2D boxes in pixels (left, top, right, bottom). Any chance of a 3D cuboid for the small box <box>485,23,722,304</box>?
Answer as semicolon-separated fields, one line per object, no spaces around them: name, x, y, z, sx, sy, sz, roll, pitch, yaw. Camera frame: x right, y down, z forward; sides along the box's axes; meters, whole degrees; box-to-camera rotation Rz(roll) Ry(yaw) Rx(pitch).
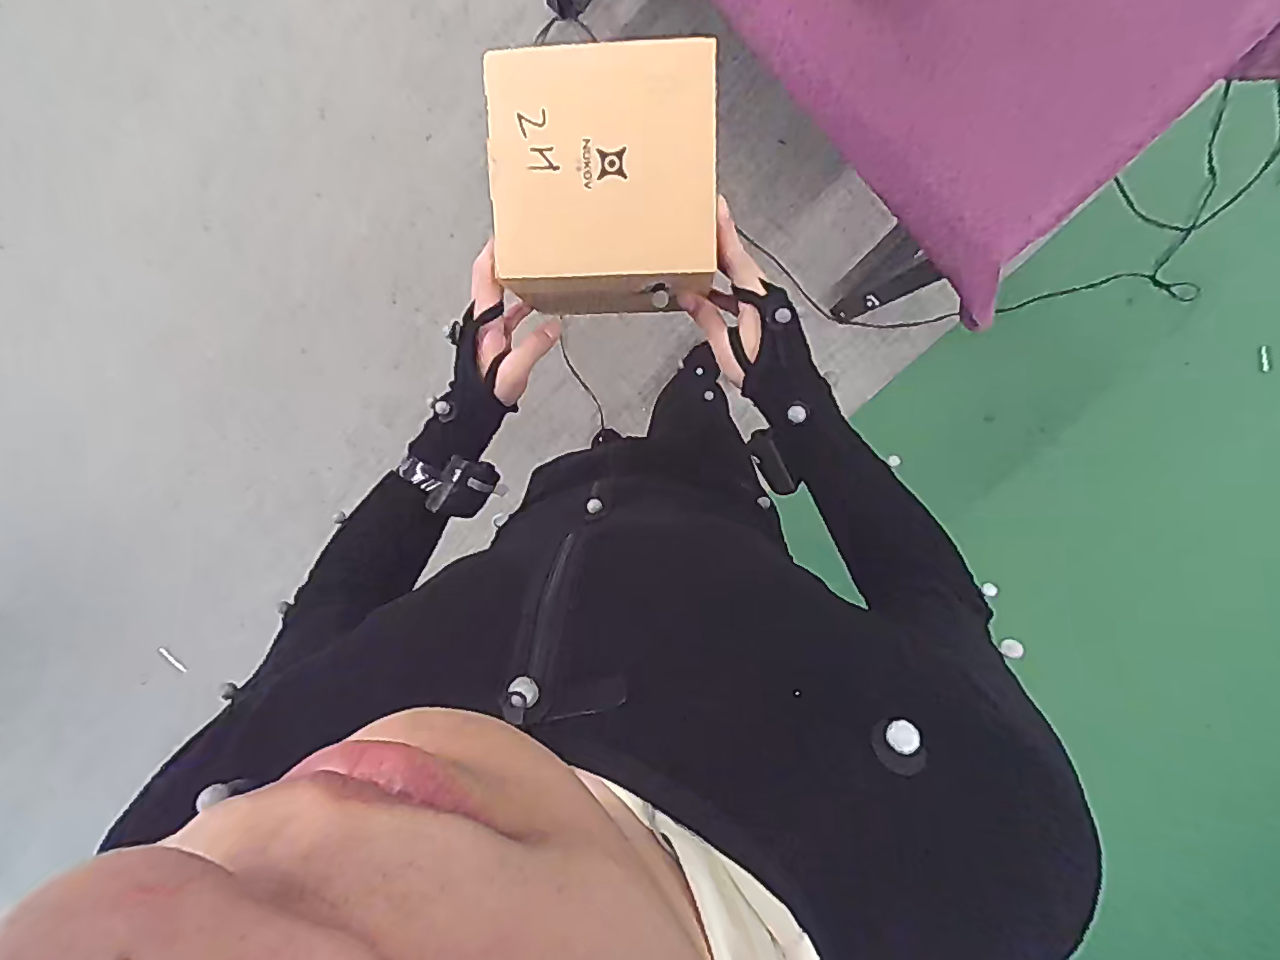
small box;-0.023;-0.259;0.483;0.179;0.176;0.168;0;97;4
